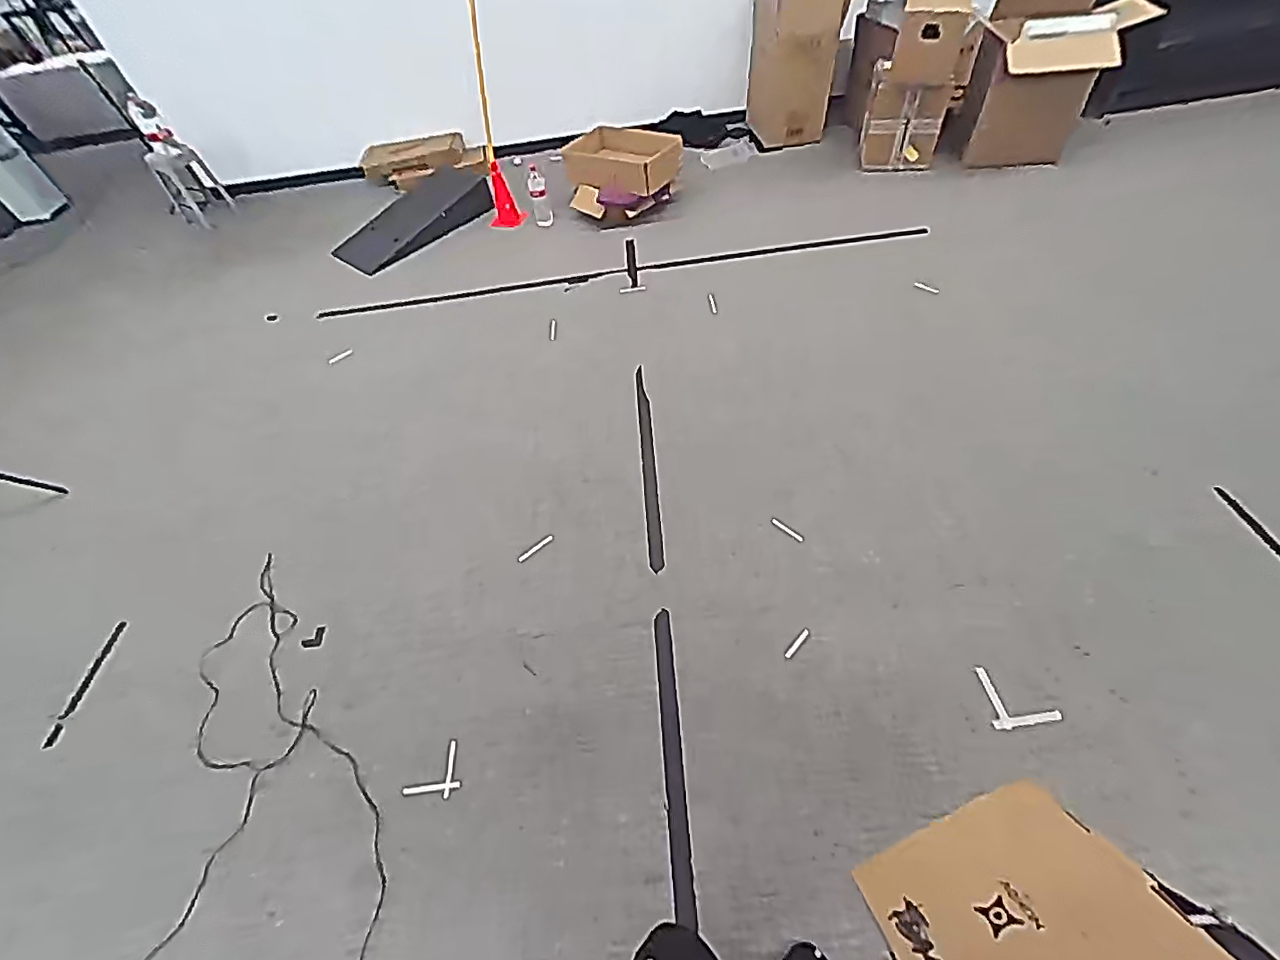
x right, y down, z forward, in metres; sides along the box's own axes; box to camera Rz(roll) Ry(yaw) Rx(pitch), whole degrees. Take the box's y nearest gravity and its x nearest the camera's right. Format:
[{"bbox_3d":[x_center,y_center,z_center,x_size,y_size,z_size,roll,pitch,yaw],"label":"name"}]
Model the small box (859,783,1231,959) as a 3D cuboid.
[{"bbox_3d":[0.307,0.385,0.407,0.179,0.176,0.168,-27,9,0],"label":"small box"}]
